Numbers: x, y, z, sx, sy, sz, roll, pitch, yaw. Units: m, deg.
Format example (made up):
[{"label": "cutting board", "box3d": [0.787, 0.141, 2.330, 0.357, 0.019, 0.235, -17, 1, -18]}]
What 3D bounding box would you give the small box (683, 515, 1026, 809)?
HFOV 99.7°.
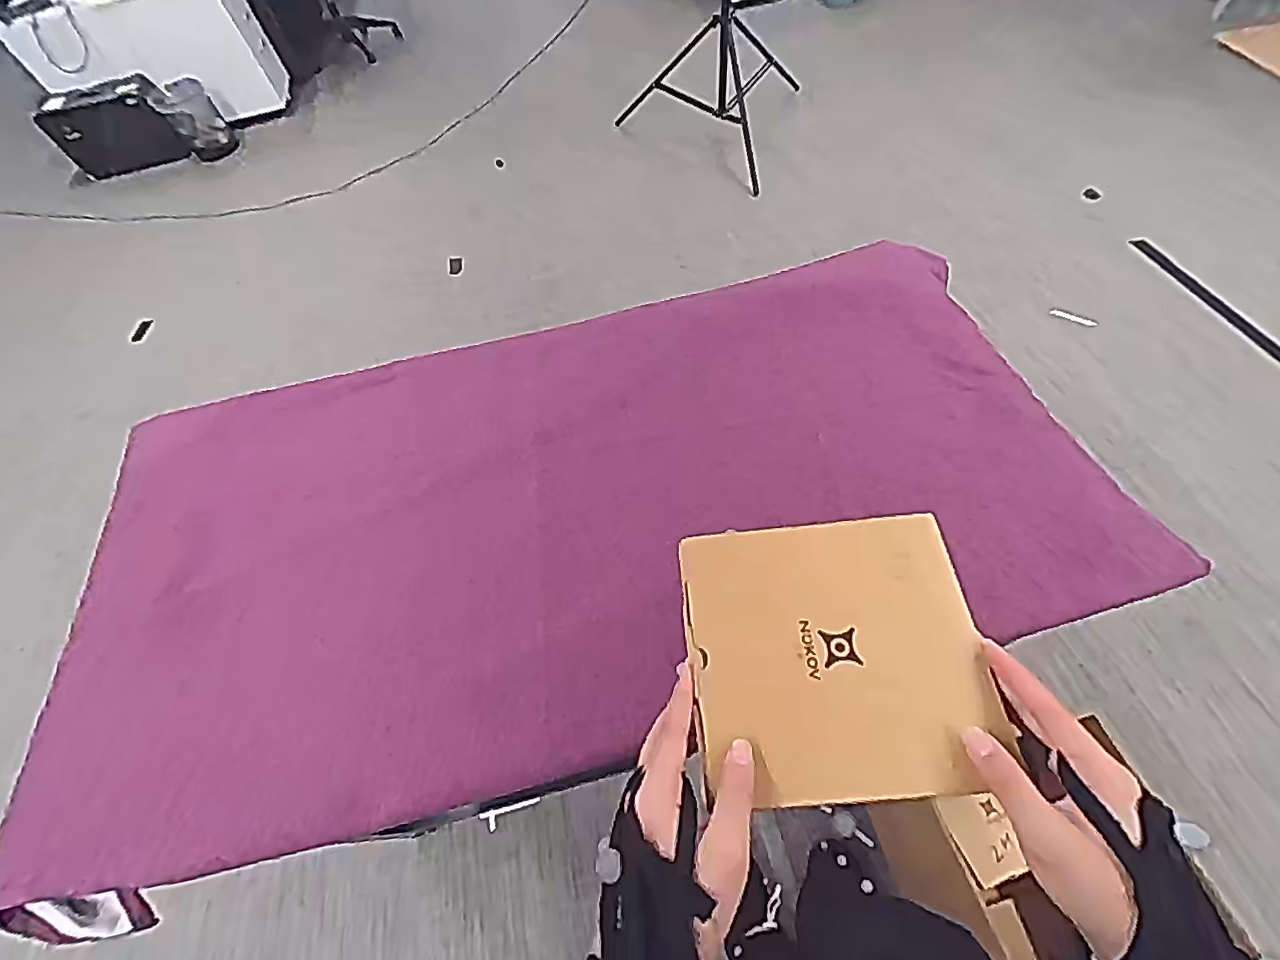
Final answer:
[{"label": "small box", "box3d": [0.128, 0.141, 0.404, 0.179, 0.176, 0.168, -7, 61, 4]}]
